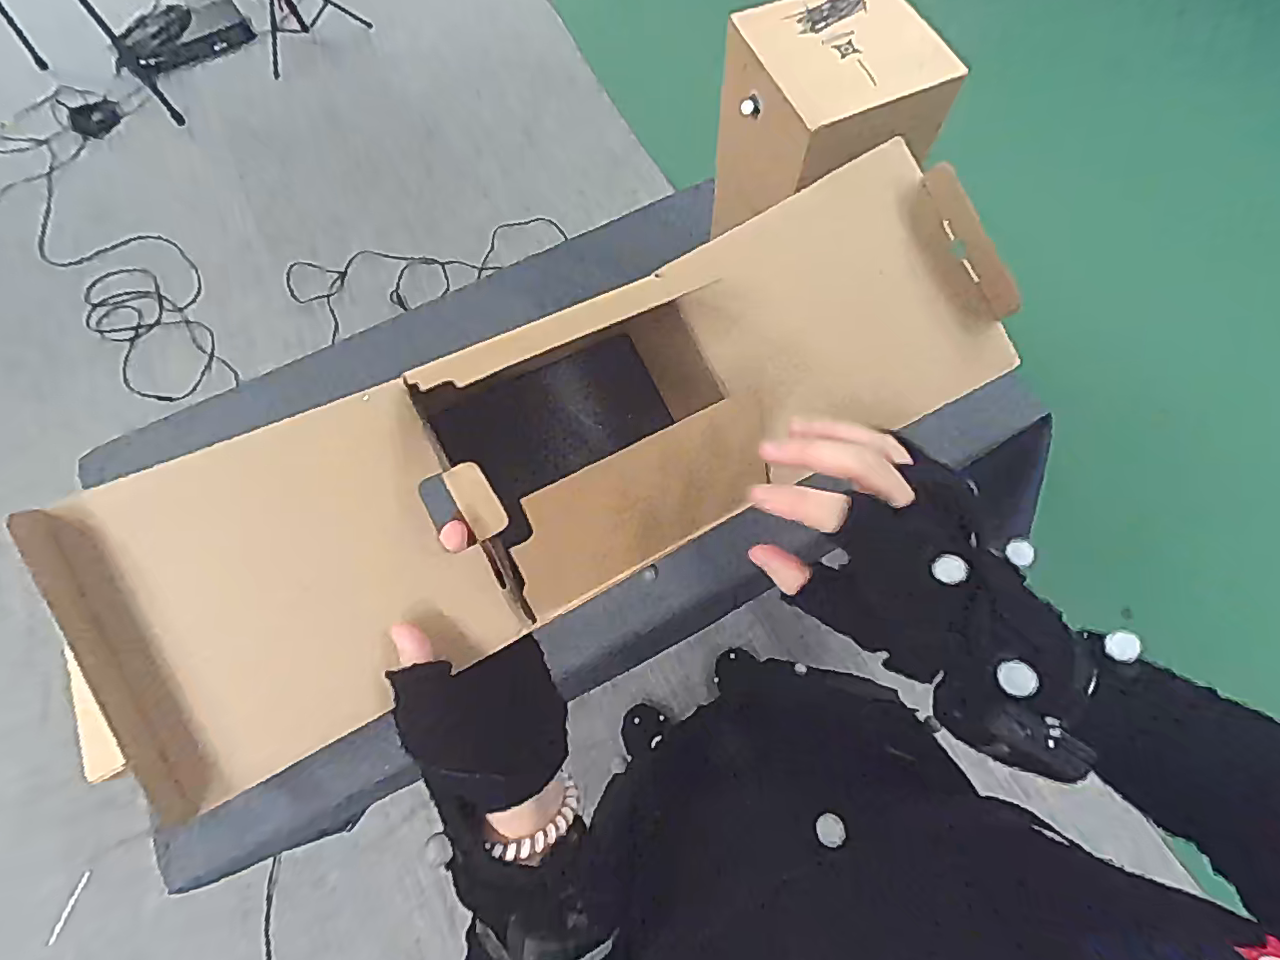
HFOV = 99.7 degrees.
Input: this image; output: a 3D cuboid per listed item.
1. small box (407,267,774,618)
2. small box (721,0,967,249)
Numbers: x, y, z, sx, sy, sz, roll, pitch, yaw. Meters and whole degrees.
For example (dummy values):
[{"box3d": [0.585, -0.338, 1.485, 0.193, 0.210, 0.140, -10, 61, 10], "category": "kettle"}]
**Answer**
[{"box3d": [-0.041, -0.019, 0.401, 0.179, 0.176, 0.168, -27, 90, -17], "category": "small box"}, {"box3d": [0.199, -0.395, 0.592, 0.168, 0.176, 0.179, -22, 72, -4], "category": "small box"}]
